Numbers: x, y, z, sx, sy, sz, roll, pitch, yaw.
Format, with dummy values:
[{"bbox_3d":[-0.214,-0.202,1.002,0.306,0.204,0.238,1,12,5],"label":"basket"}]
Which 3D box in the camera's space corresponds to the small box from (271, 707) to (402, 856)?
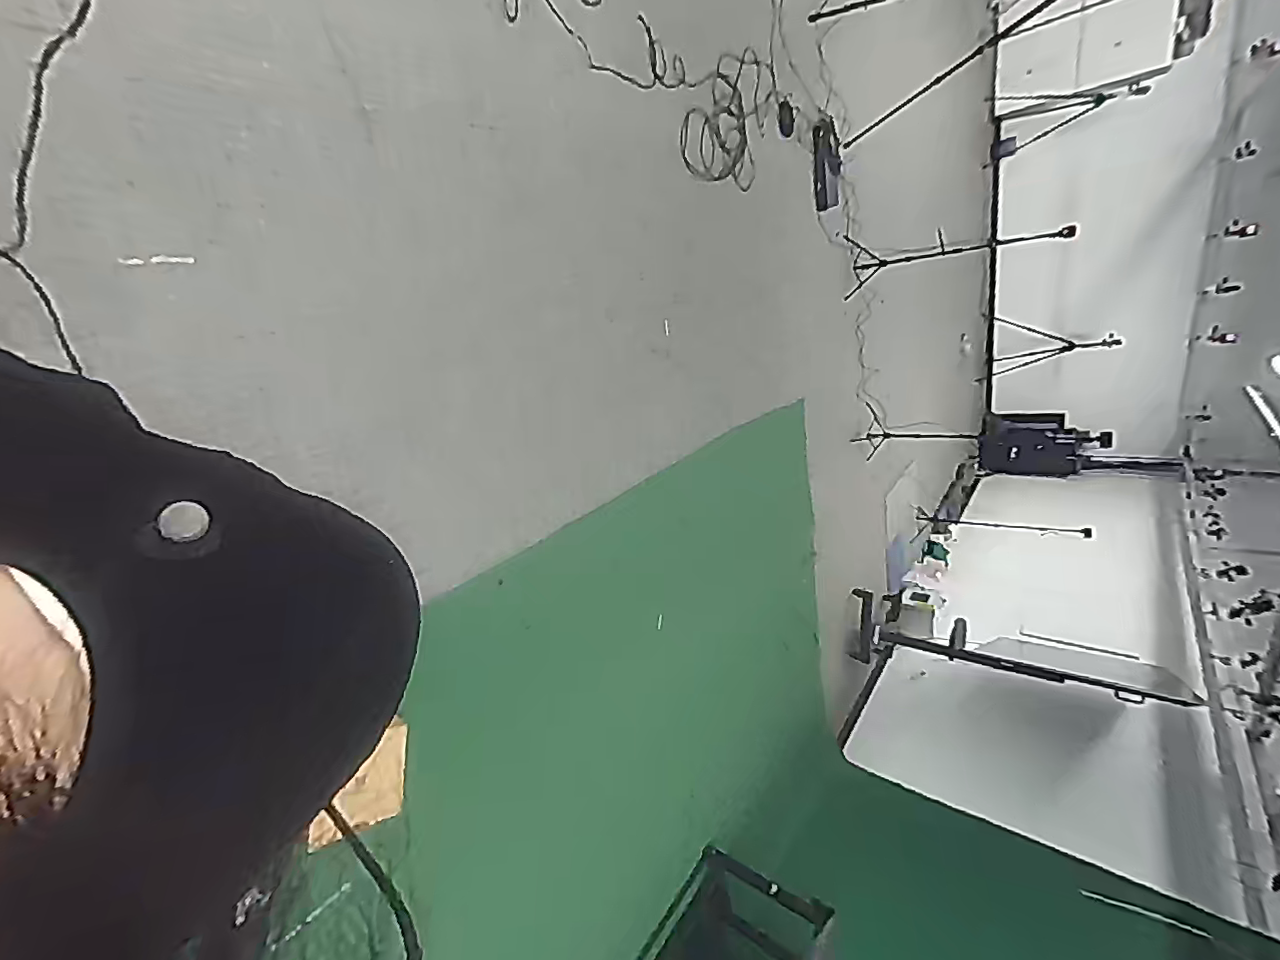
[{"bbox_3d":[-0.574,0.549,1.021,0.168,0.176,0.179,4,91,-50],"label":"small box"}]
